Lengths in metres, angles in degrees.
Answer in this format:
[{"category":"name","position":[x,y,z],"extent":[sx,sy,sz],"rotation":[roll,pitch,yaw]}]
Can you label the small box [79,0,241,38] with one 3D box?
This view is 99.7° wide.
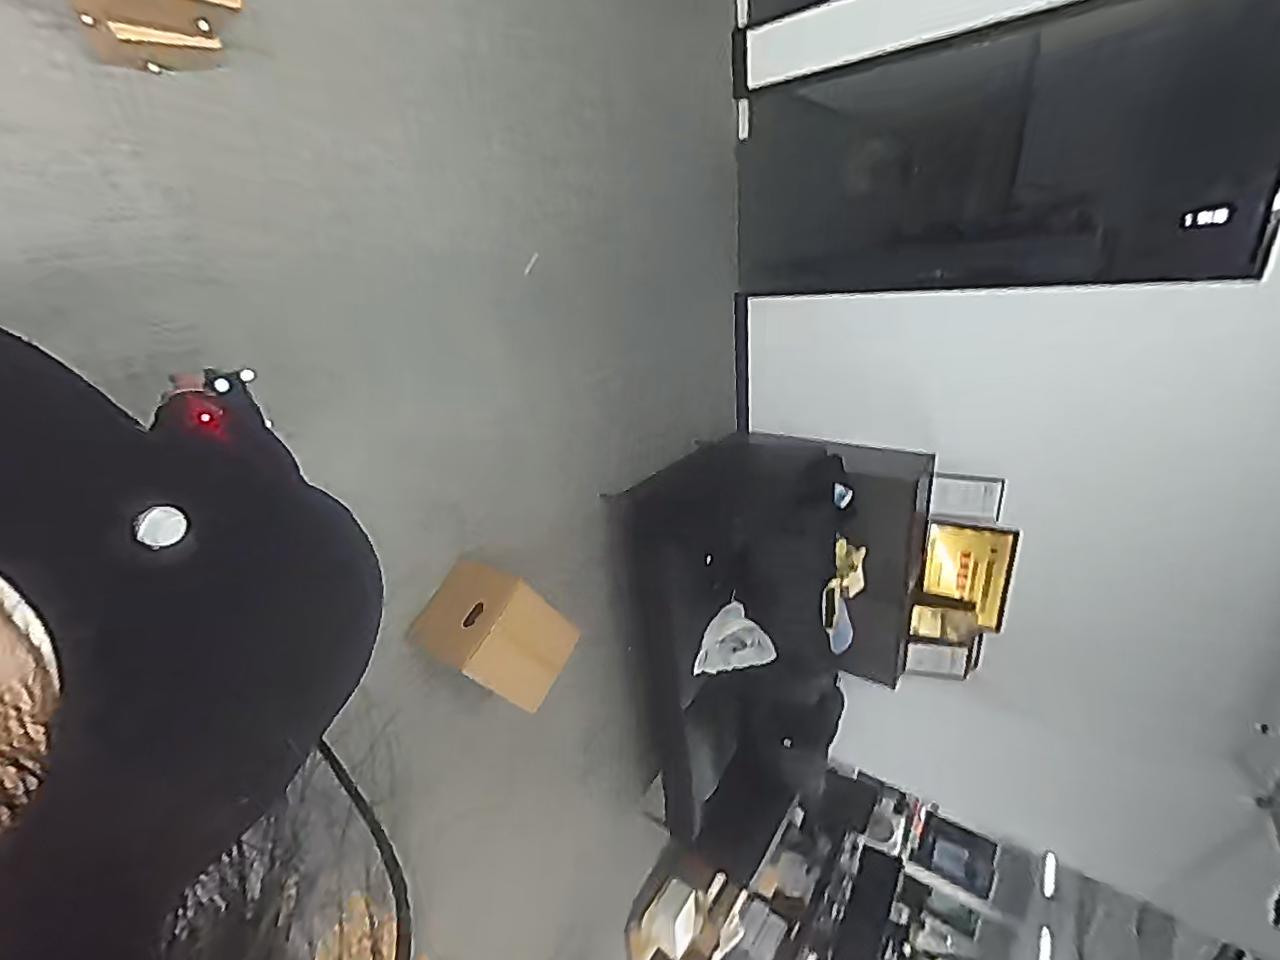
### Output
[{"category":"small box","position":[-0.797,-0.847,0.869],"extent":[0.179,0.176,0.168],"rotation":[-31,123,-45]}]
